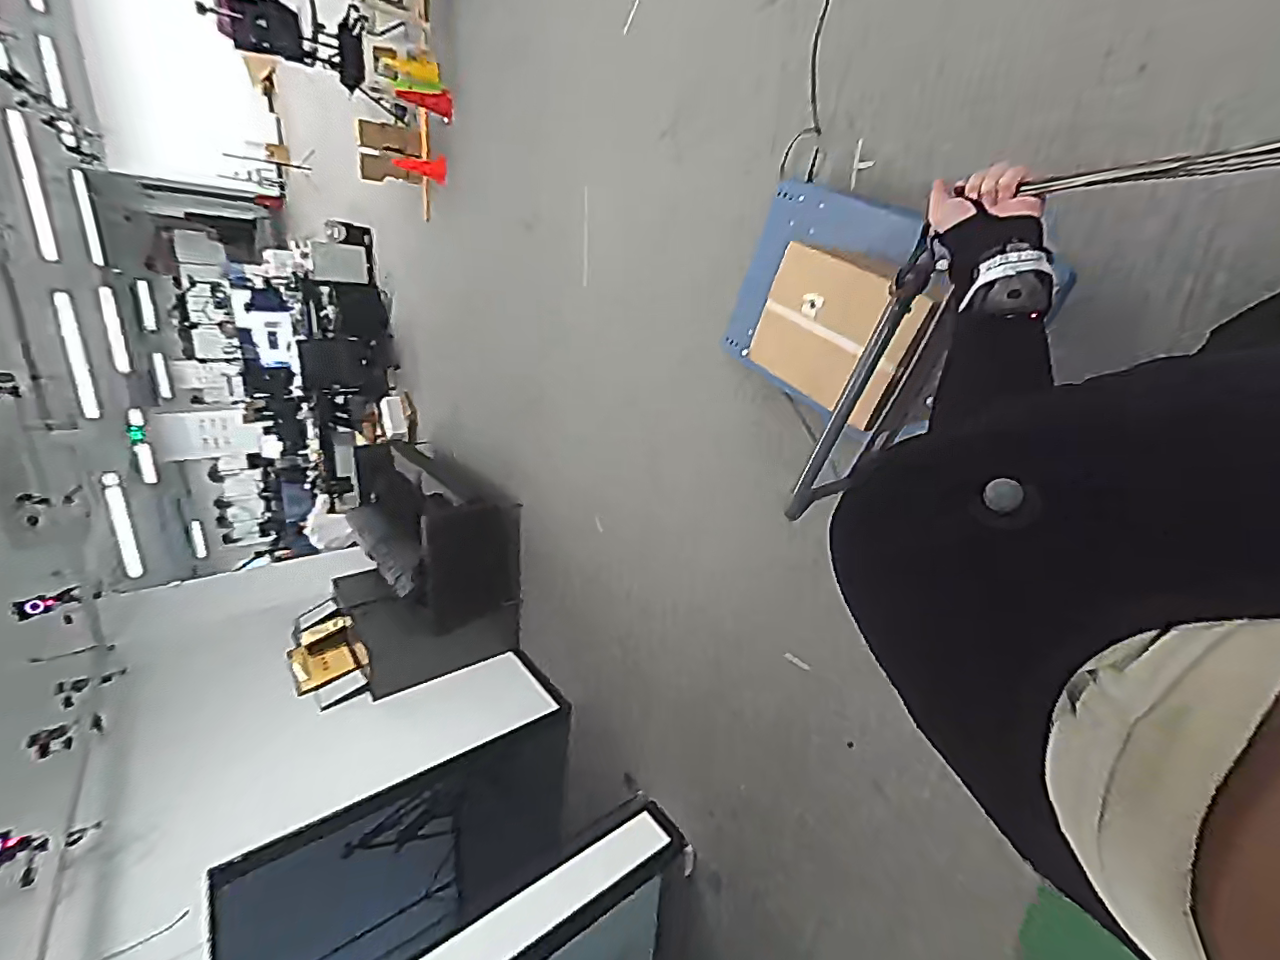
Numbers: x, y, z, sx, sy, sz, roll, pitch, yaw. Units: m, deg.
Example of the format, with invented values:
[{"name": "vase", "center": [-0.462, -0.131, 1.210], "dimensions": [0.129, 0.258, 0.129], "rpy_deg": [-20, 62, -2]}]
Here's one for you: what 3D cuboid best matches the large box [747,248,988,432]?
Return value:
[{"name": "large box", "center": [0.559, -0.360, 1.374], "dimensions": [0.408, 0.320, 0.320], "rpy_deg": [46, 131, 38]}]
